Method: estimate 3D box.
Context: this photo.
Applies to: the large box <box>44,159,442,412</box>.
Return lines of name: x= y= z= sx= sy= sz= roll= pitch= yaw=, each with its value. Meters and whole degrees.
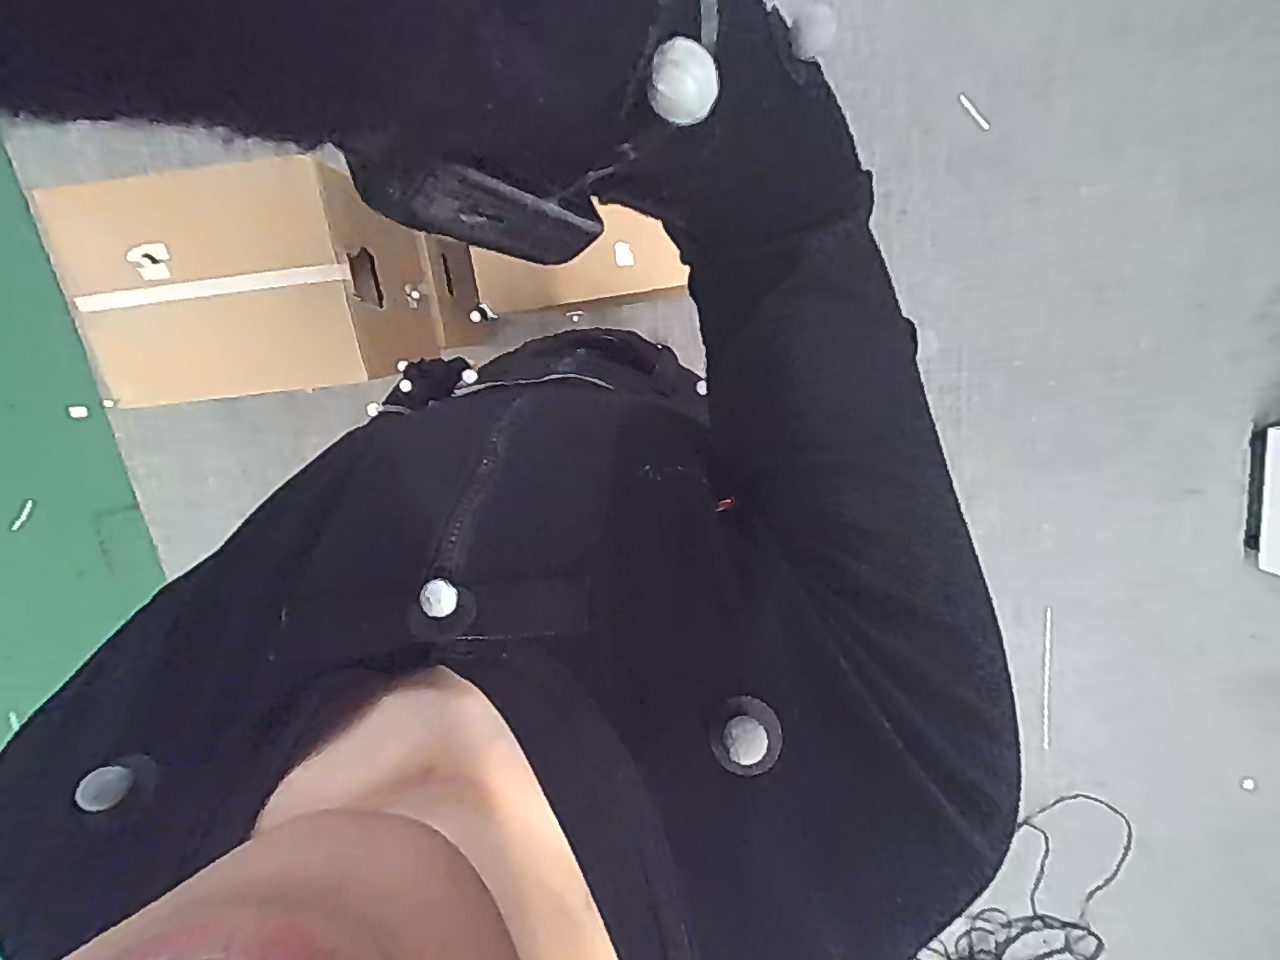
large box: x=-0.617 y=-0.315 z=0.928 sx=0.408 sy=0.320 sz=0.320 roll=-5 pitch=106 yaw=3
